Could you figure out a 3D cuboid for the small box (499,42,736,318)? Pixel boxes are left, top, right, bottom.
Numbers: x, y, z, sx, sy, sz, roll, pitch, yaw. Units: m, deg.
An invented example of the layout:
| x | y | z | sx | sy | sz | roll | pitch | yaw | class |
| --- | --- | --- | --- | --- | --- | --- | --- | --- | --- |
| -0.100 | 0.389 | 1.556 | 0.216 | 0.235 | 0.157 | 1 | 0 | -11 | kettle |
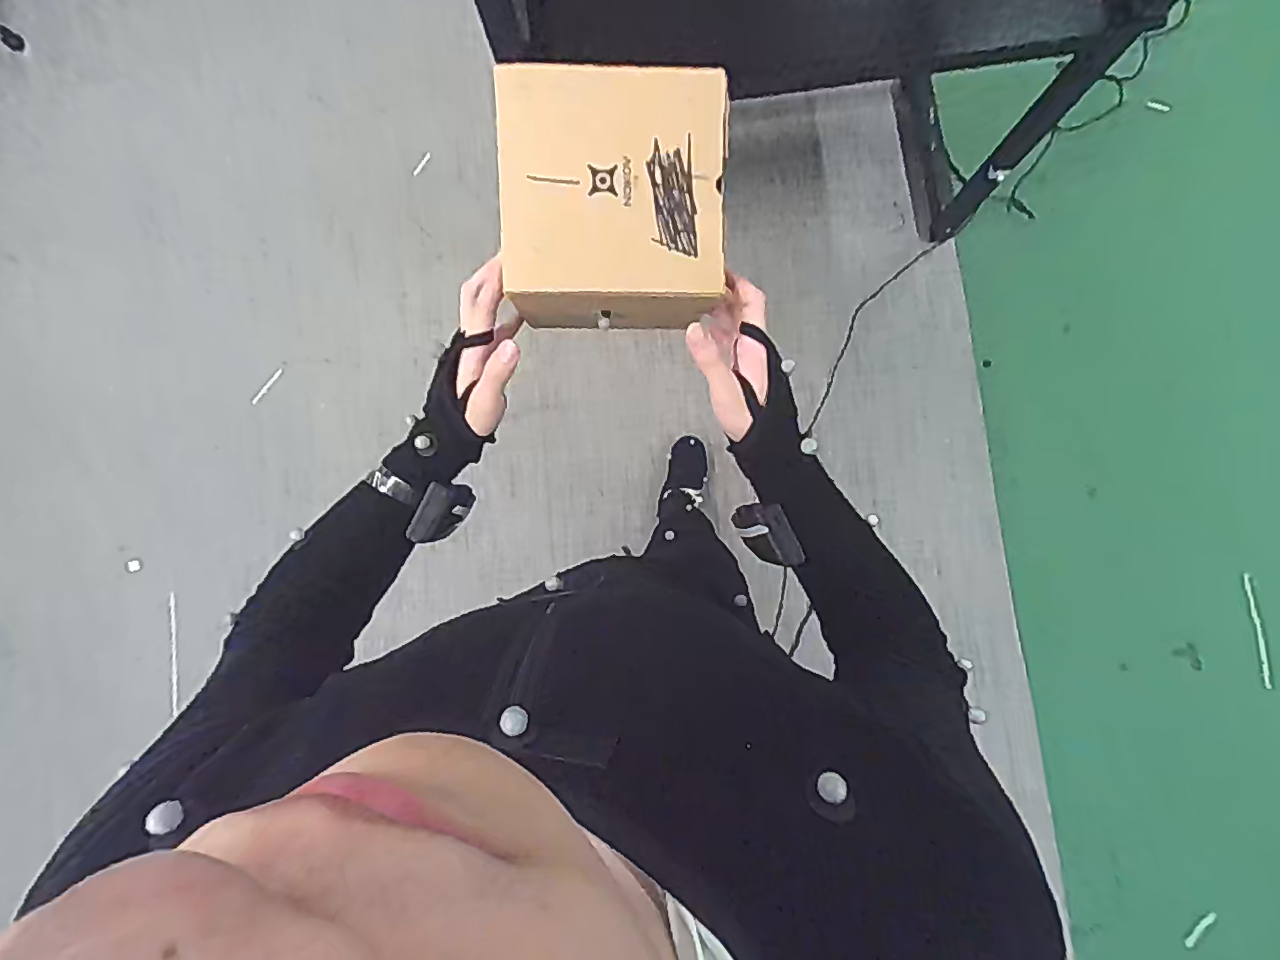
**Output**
| x | y | z | sx | sy | sz | roll | pitch | yaw | class |
| --- | --- | --- | --- | --- | --- | --- | --- | --- | --- |
| -0.021 | -0.244 | 0.484 | 0.179 | 0.176 | 0.168 | -1 | 97 | -3 | small box |
